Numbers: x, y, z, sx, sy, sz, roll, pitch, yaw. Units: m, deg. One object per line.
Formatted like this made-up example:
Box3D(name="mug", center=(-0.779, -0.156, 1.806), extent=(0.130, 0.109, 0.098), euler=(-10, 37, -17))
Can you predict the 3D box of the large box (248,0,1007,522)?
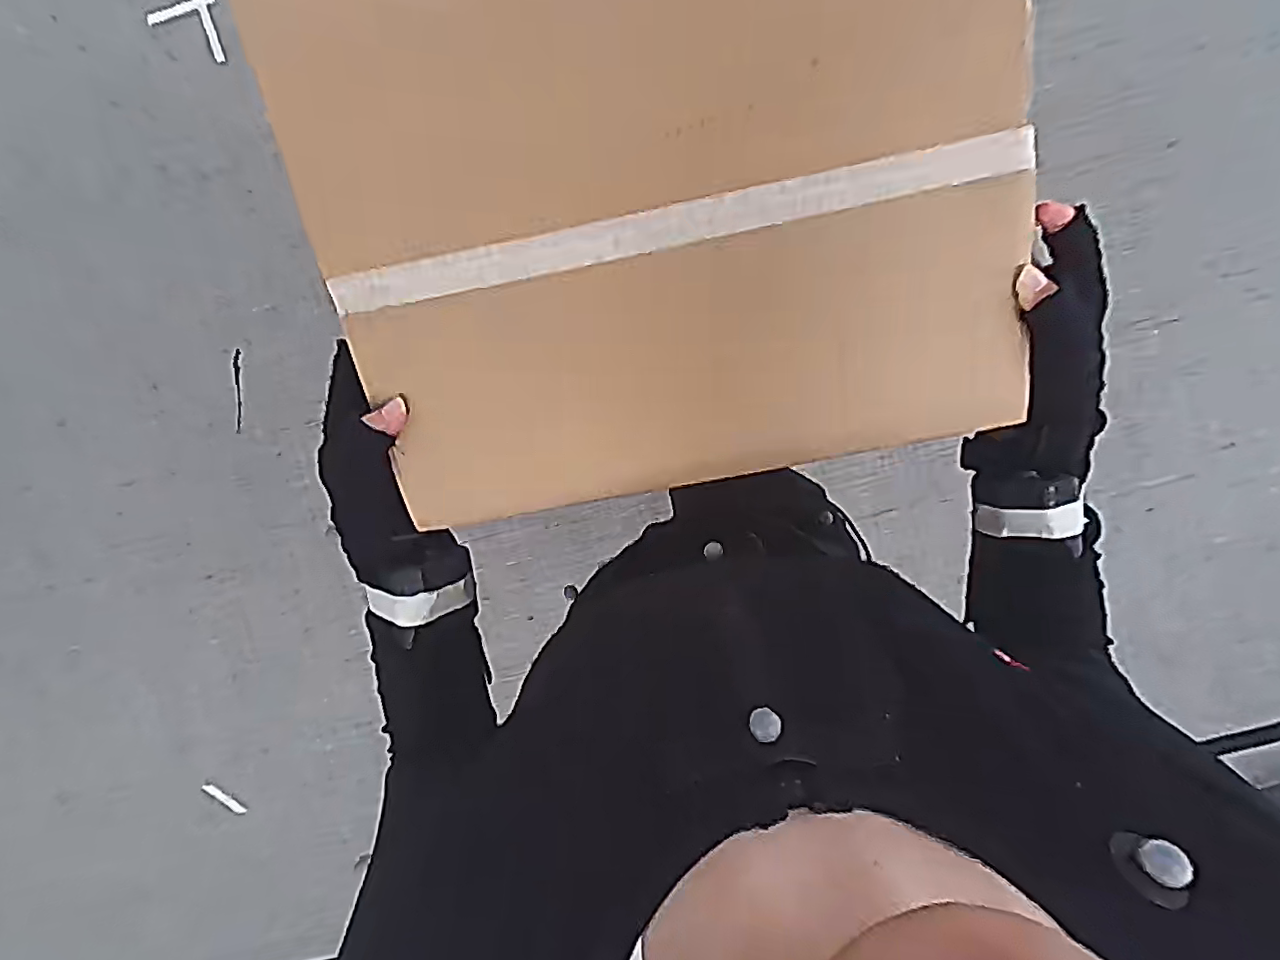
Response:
Box3D(name="large box", center=(0.014, -0.197, 0.461), extent=(0.408, 0.320, 0.320), euler=(-11, 107, 3))
